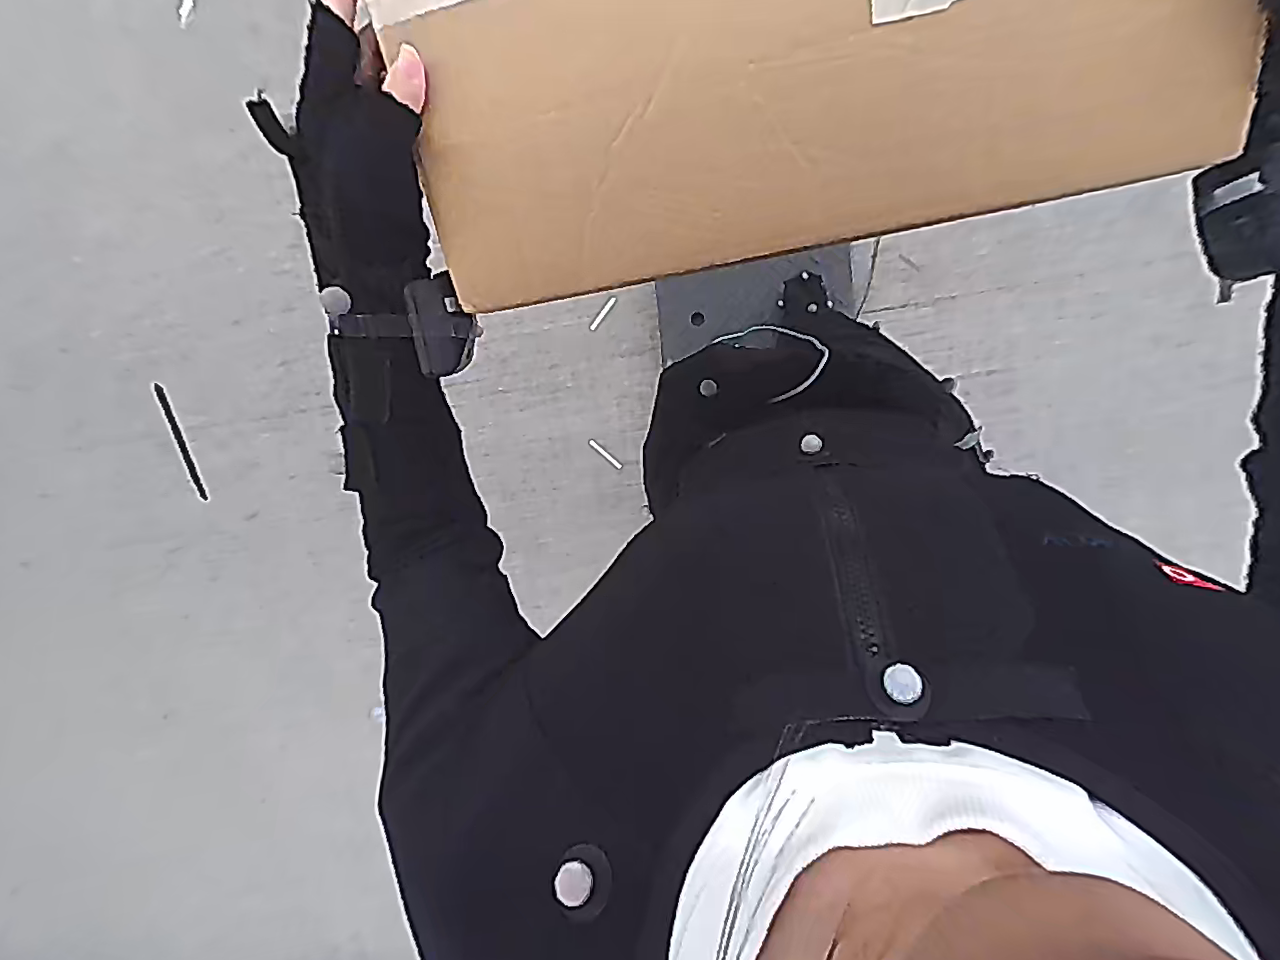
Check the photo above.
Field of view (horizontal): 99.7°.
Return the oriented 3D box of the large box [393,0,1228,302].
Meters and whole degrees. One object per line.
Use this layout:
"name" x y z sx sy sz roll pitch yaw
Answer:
"large box" 0.076 -0.336 0.390 0.408 0.320 0.320 -8 112 10
